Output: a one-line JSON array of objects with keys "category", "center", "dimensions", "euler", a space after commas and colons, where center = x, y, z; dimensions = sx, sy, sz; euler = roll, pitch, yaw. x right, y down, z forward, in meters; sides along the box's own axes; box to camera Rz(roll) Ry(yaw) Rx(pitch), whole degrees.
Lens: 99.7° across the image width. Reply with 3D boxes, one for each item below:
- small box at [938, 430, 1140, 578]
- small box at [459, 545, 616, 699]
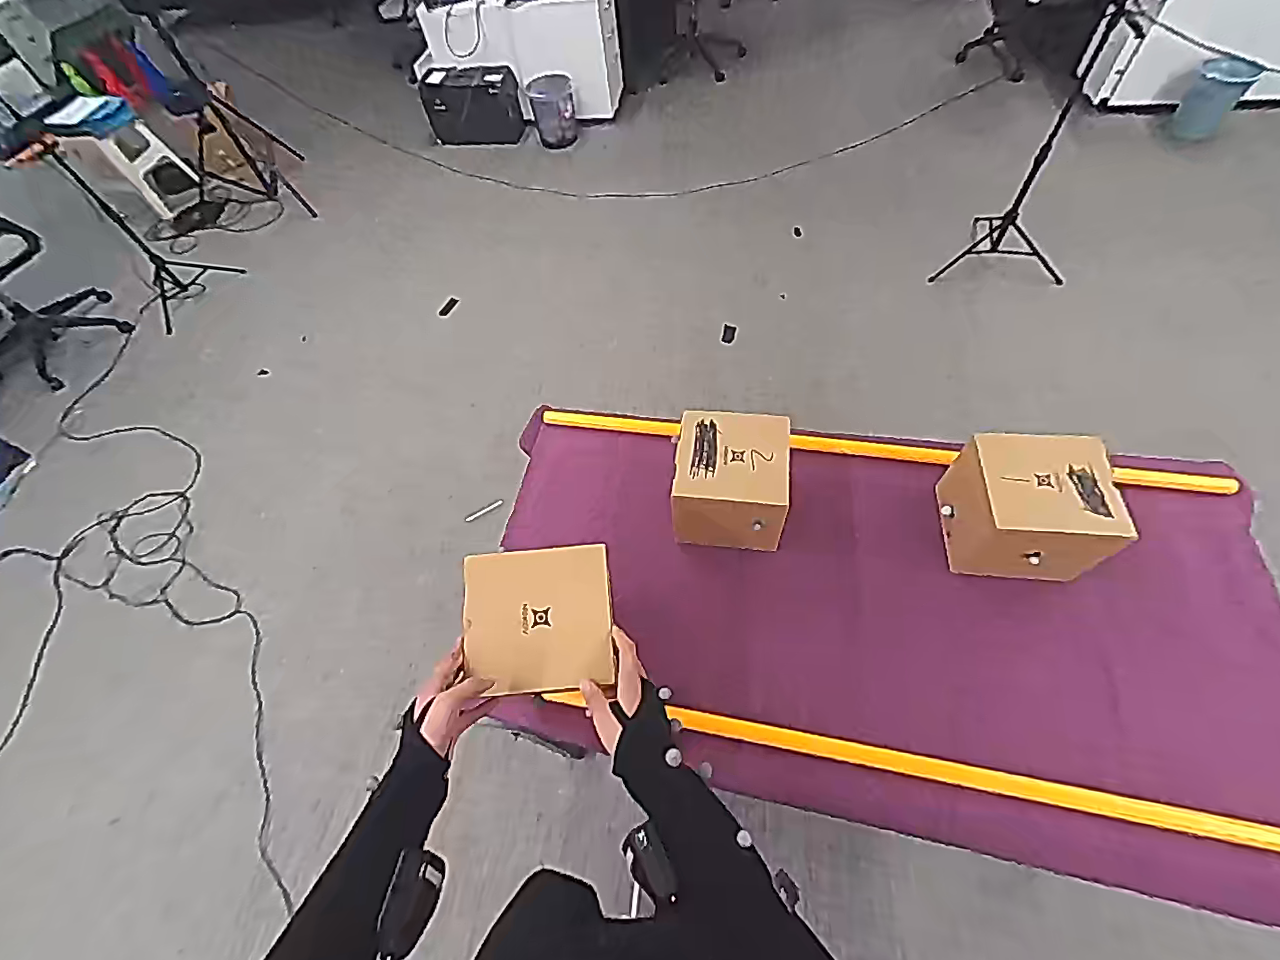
[{"category": "small box", "center": [0.584, 0.041, 0.821], "dimensions": [0.179, 0.176, 0.168], "euler": [2, 59, 10]}, {"category": "small box", "center": [-0.122, 0.189, 0.704], "dimensions": [0.179, 0.176, 0.168], "euler": [-5, 69, -2]}]
